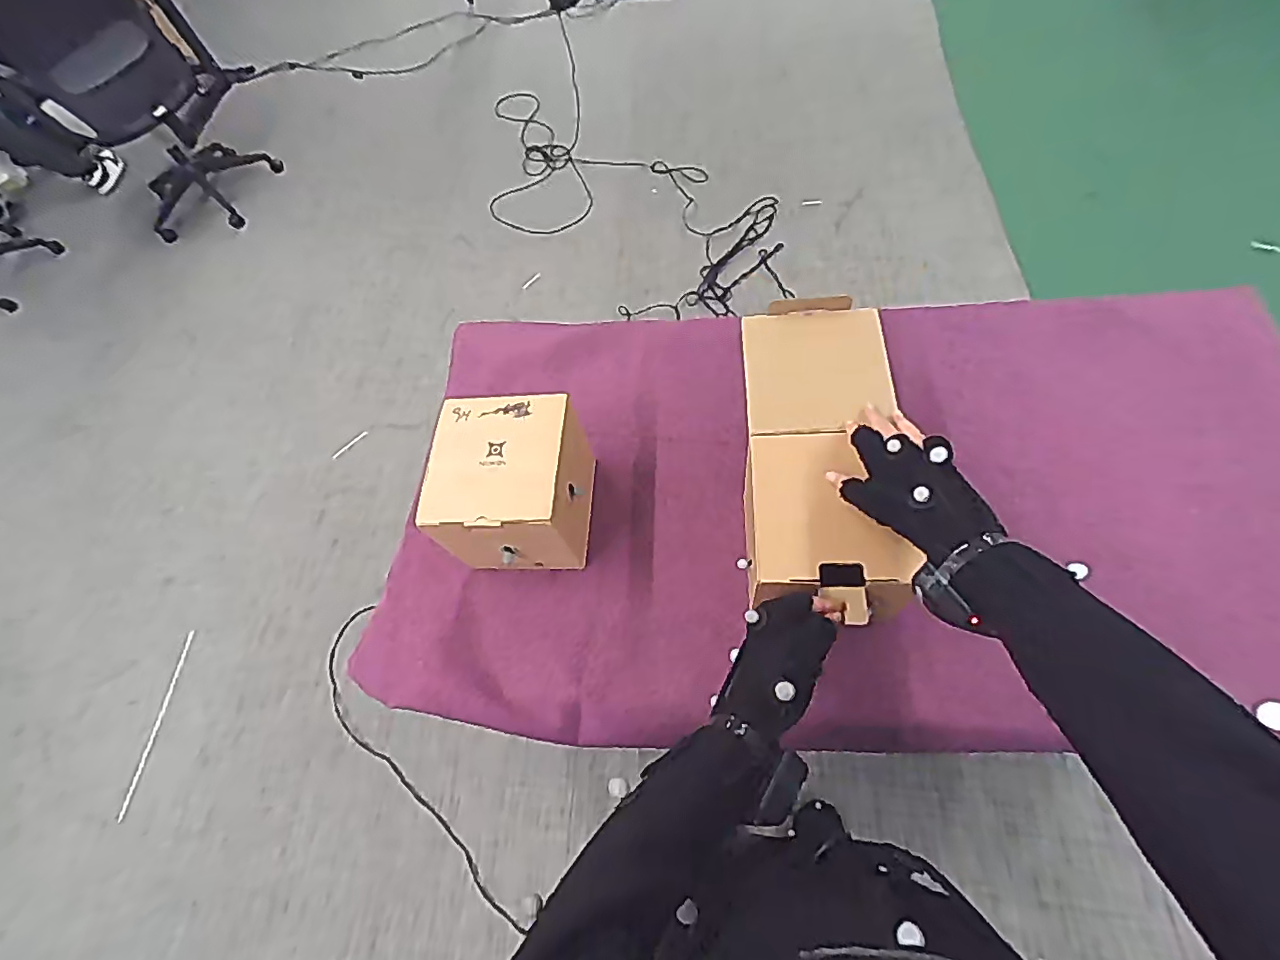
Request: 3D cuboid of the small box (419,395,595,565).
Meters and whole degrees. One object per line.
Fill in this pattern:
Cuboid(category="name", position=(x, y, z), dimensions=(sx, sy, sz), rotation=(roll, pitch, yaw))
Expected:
Cuboid(category="small box", position=(-0.161, 0.009, 0.717), dimensions=(0.168, 0.176, 0.179), rotation=(-1, 63, 8))

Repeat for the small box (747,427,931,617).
Cuboid(category="small box", position=(0.213, 0.058, 0.631), dimensions=(0.168, 0.176, 0.179), rotation=(-1, 63, 8))
